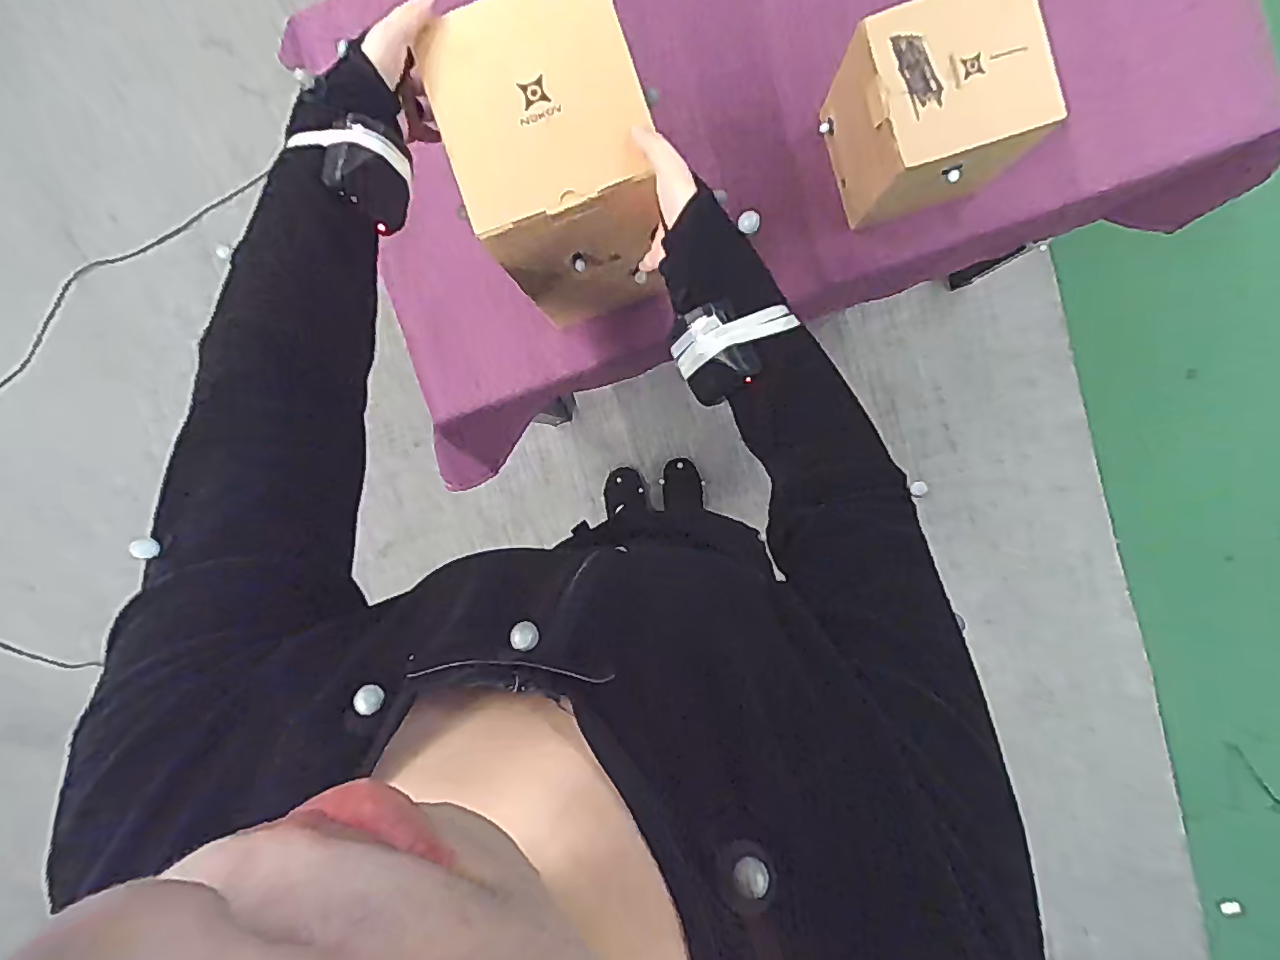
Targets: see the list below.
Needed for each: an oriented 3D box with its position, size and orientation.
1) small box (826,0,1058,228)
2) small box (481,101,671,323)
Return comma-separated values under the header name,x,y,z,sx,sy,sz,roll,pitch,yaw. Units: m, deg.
name,x,y,z,sx,sy,sz,roll,pitch,yaw
small box,0.338,-0.432,0.647,0.179,0.176,0.168,-16,93,3
small box,-0.068,-0.315,0.676,0.179,0.176,0.168,-18,92,4
